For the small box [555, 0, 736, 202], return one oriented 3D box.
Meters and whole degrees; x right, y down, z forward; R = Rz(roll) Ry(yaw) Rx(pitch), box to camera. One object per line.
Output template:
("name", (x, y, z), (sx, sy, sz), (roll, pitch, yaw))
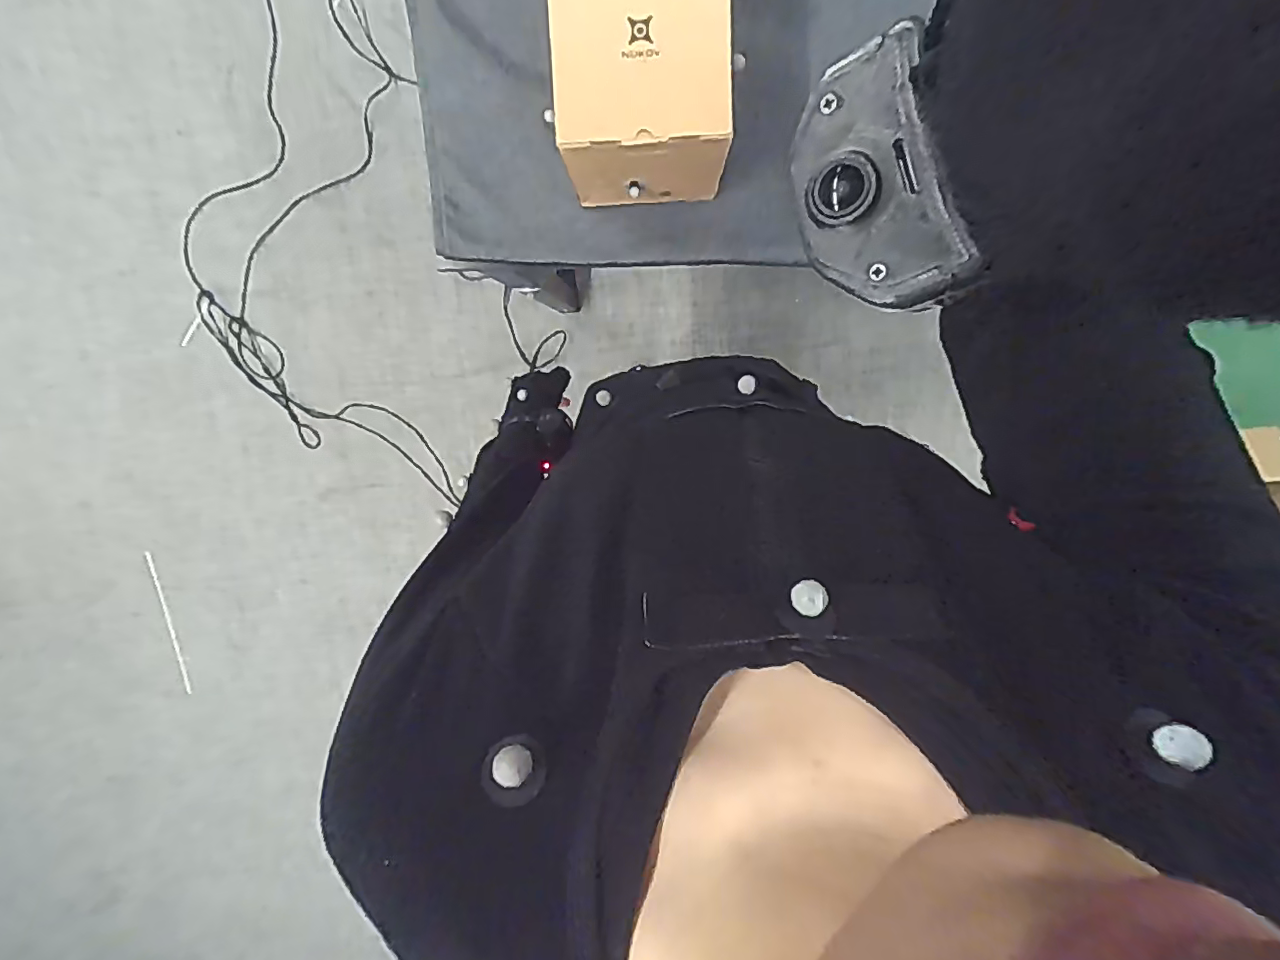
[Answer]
("small box", (0.007, -0.417, 0.571), (0.168, 0.176, 0.179), (-2, 100, 2))
